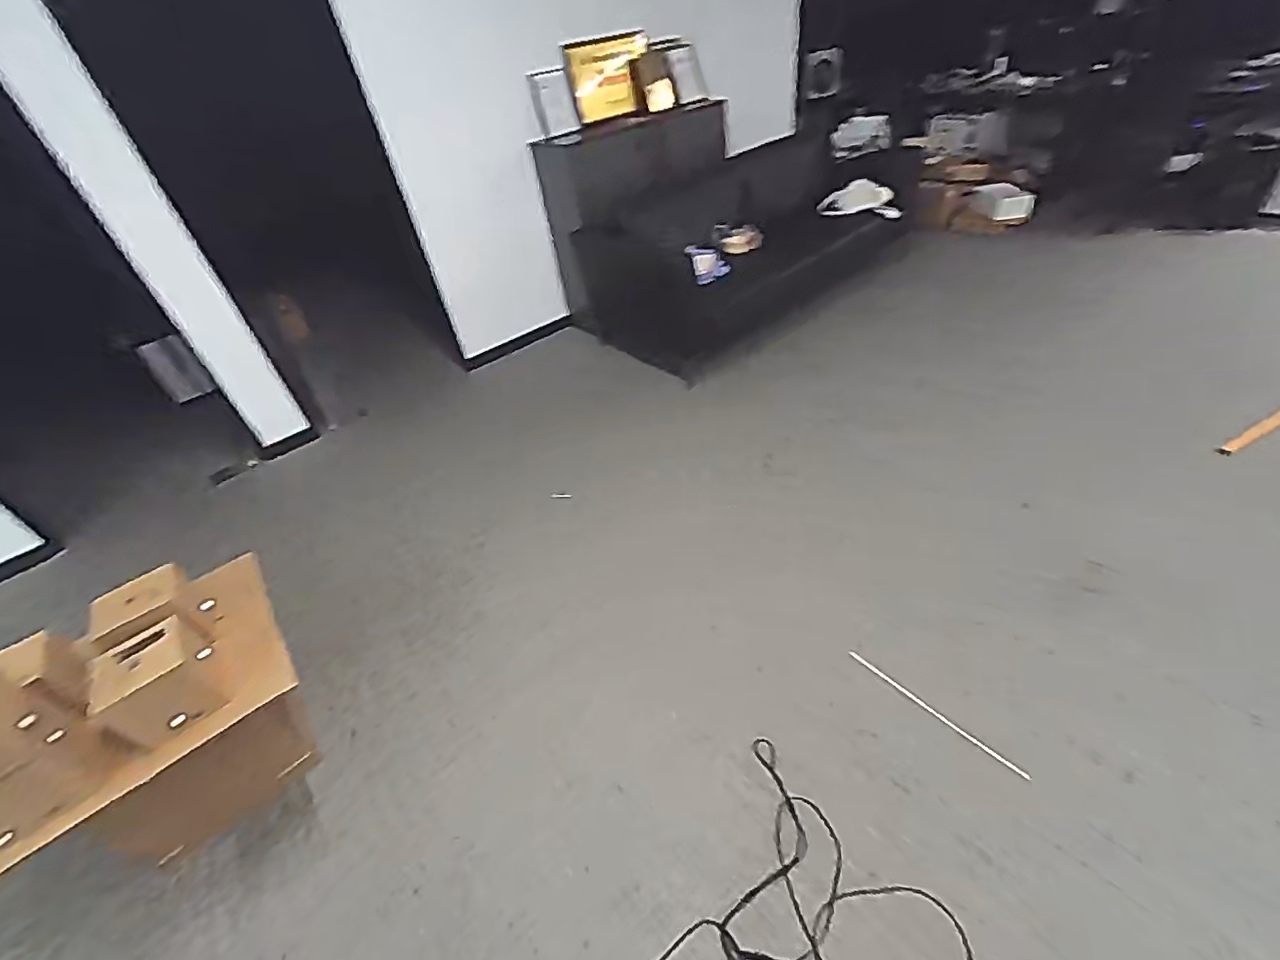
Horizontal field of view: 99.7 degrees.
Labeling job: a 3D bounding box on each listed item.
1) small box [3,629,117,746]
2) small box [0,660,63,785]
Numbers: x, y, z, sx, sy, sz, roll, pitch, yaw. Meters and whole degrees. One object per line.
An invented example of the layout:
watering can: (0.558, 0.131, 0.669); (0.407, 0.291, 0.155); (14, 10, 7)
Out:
small box: (-1.364, 0.489, 1.249); (0.168, 0.176, 0.179); (-35, 44, -24)
small box: (-1.236, 0.468, 0.990); (0.179, 0.176, 0.168); (-31, 45, -23)
